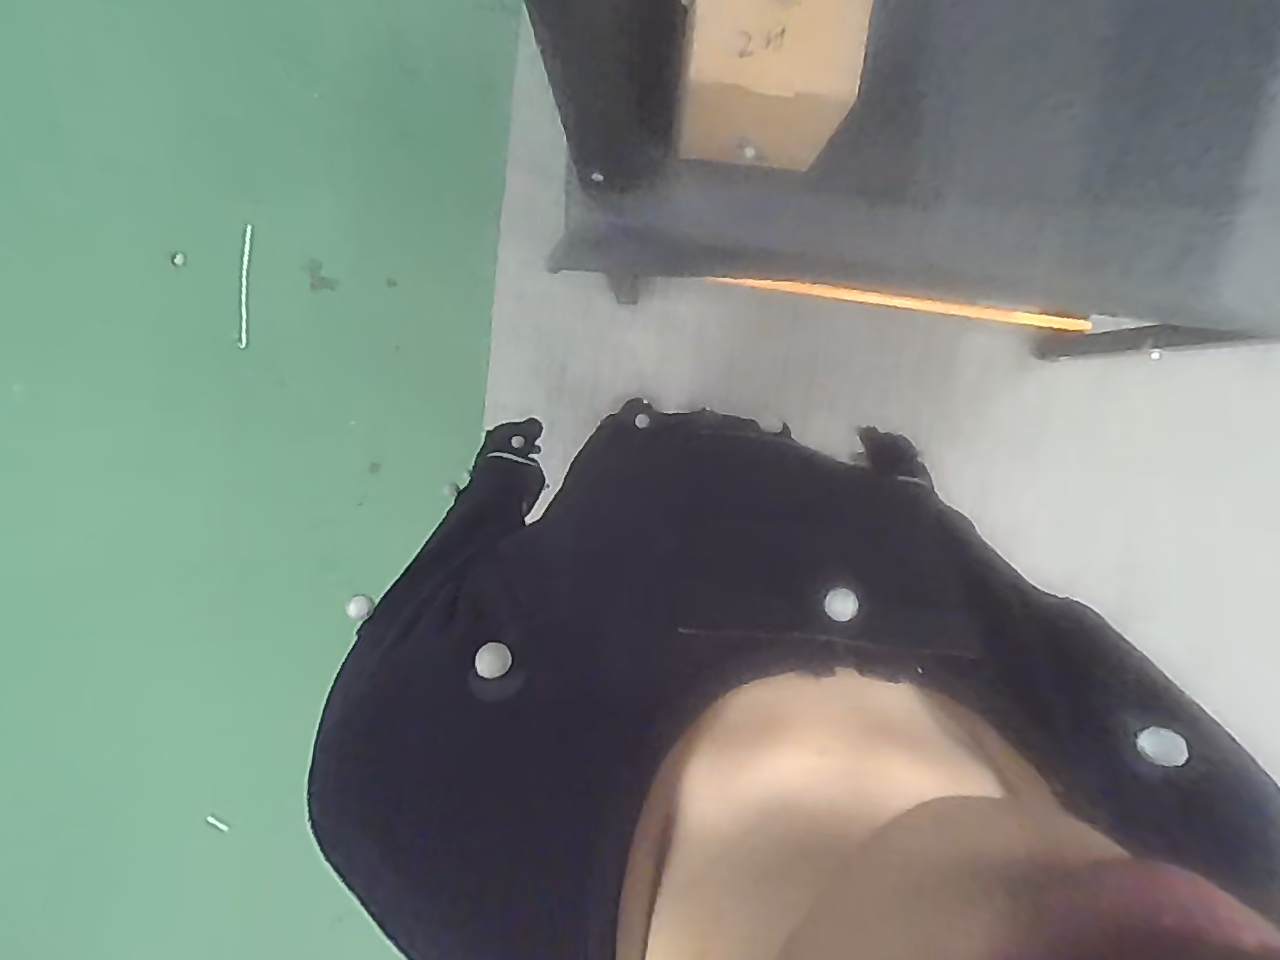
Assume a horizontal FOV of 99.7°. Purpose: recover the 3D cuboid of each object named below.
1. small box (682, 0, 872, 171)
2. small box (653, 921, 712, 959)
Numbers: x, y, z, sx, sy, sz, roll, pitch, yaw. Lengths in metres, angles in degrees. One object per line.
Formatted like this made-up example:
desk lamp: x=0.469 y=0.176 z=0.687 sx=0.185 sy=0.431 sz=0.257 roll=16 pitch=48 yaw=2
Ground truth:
small box: x=0.139 y=-0.472 z=0.589 sx=0.168 sy=0.176 sz=0.179 roll=6 pitch=98 yaw=0
small box: x=0.127 y=1.484 z=1.624 sx=0.168 sy=0.176 sz=0.179 roll=5 pitch=97 yaw=-2
